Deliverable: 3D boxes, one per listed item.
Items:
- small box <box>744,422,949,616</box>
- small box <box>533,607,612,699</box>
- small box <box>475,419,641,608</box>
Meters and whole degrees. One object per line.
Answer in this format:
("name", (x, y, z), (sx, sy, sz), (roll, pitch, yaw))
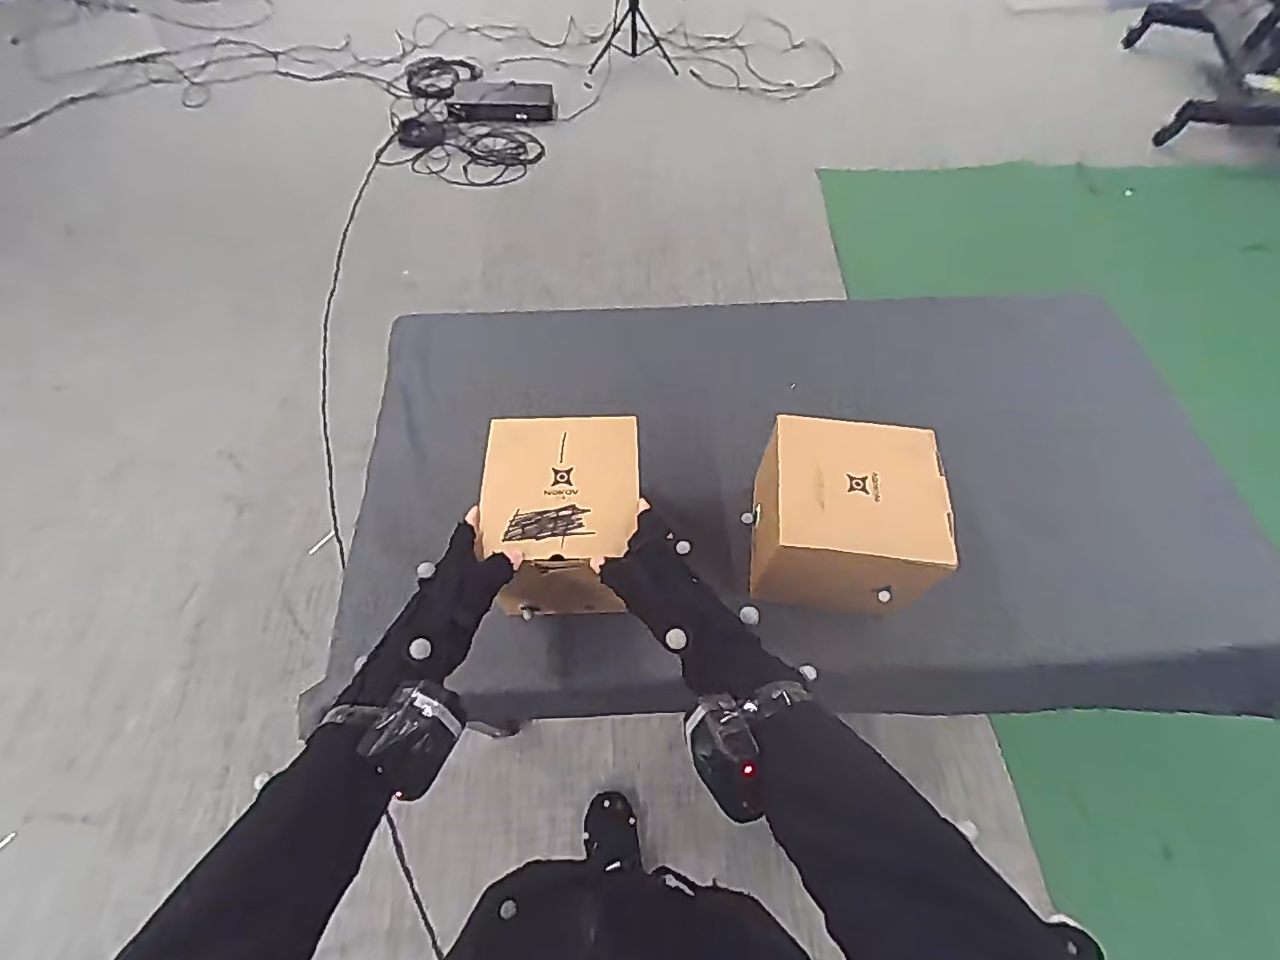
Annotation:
("small box", (0.229, 0.053, 0.643), (0.179, 0.176, 0.168), (7, 60, 4))
("small box", (-0.156, 0.411, 1.273), (0.168, 0.176, 0.179), (-6, 62, -5))
("small box", (-0.082, 0.047, 0.639), (0.168, 0.176, 0.179), (-1, 59, -1))
